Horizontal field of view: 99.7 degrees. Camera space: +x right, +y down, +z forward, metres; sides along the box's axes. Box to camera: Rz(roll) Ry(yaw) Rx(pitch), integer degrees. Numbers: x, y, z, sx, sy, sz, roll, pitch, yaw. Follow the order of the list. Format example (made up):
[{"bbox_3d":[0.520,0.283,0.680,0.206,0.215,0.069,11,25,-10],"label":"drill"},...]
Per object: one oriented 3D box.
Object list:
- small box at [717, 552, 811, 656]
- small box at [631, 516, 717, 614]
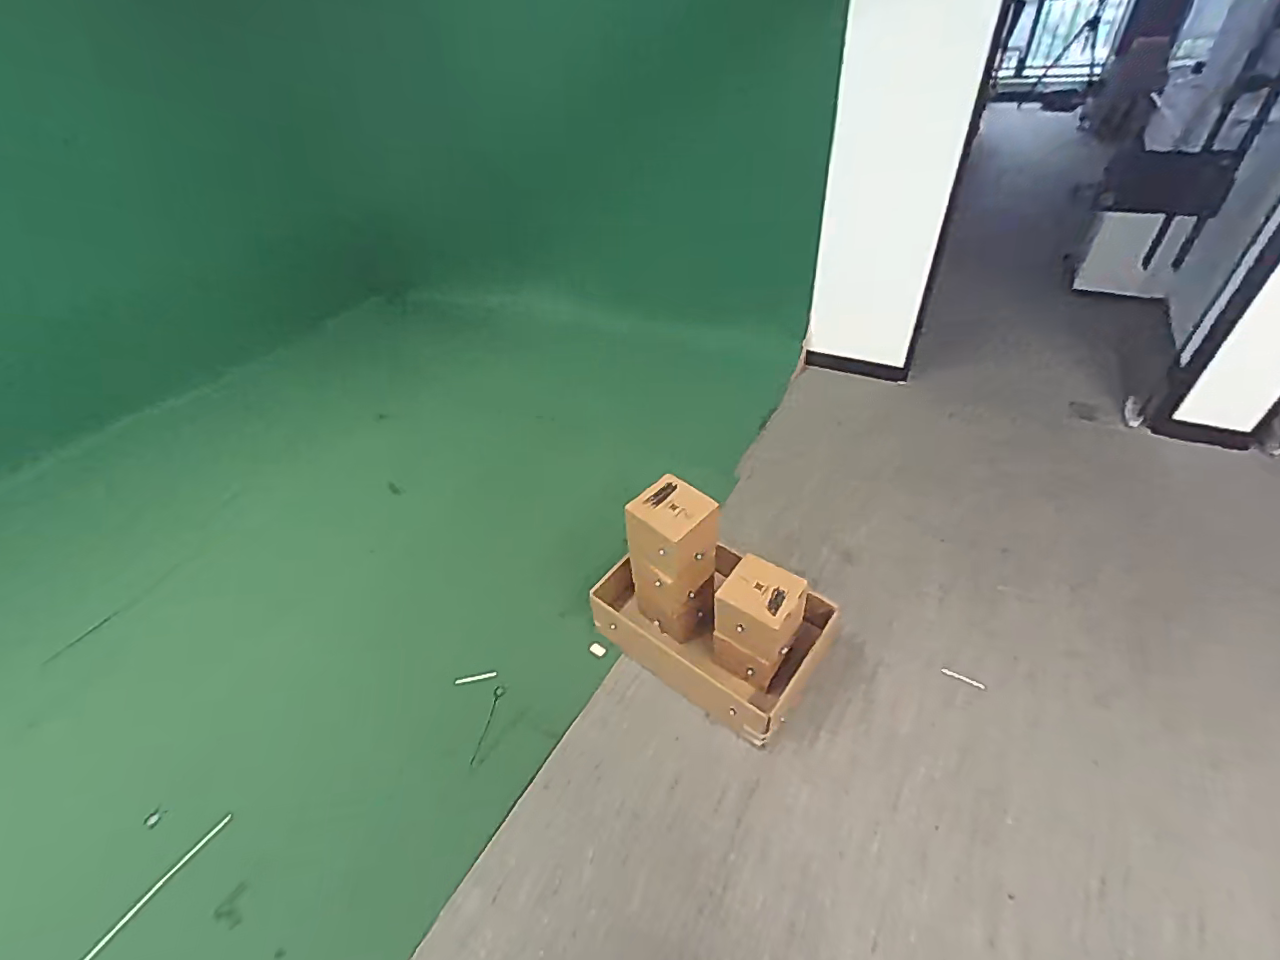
[{"bbox_3d":[0.316,0.324,1.389,0.179,0.176,0.168,24,52,32],"label":"small box"},{"bbox_3d":[0.095,0.239,1.517,0.168,0.176,0.179,-33,51,-25],"label":"small box"}]
